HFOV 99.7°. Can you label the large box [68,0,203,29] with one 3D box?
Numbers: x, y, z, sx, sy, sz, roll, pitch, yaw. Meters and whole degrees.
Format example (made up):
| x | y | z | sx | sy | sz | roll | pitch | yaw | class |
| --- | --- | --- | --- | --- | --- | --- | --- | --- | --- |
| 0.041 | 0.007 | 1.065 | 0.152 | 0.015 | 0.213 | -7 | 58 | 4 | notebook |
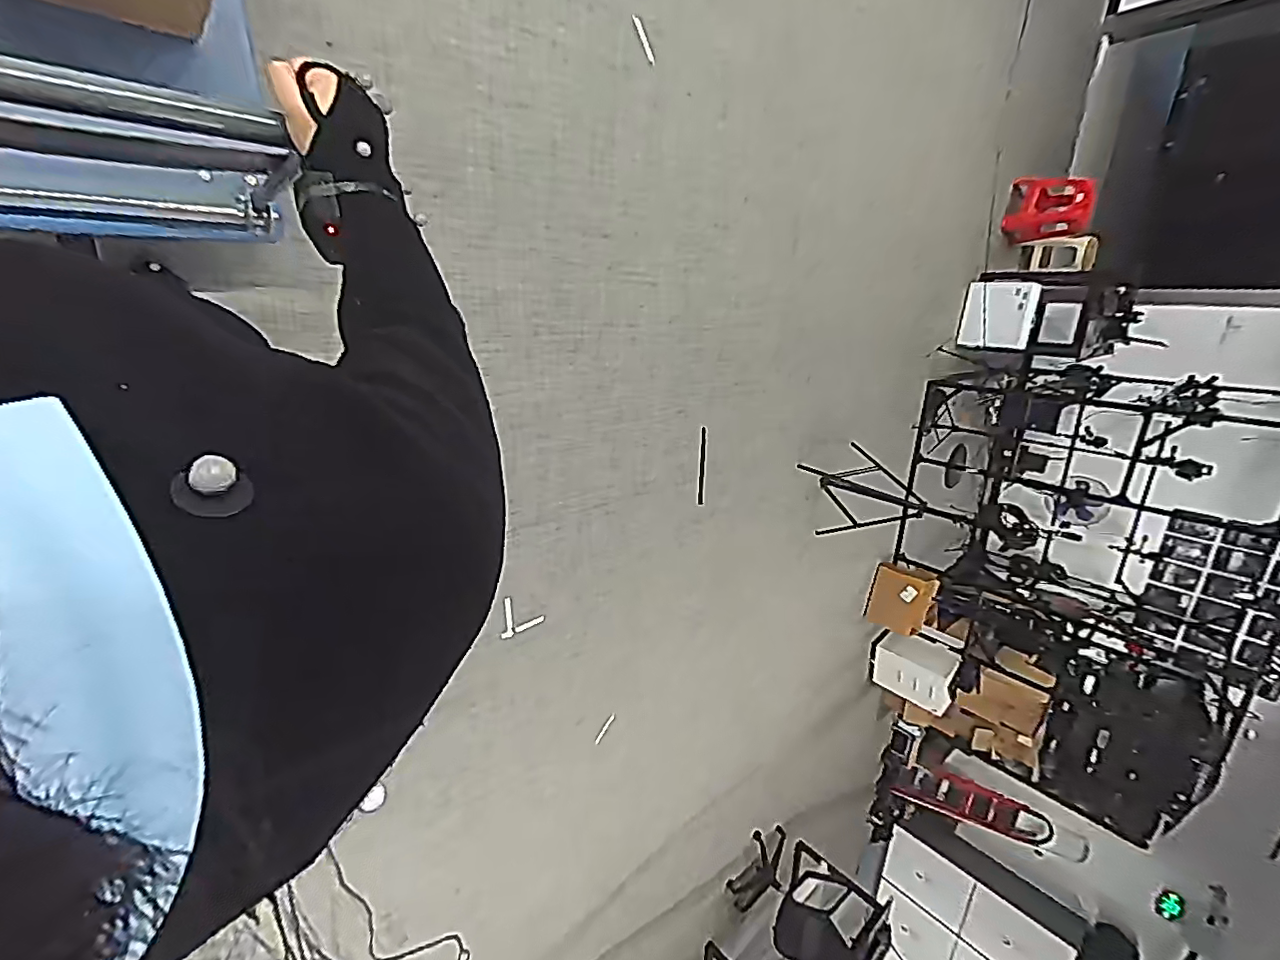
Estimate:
| x | y | z | sx | sy | sz | roll | pitch | yaw | class |
| --- | --- | --- | --- | --- | --- | --- | --- | --- | --- |
| -0.809 | -0.826 | 0.646 | 0.408 | 0.320 | 0.320 | -15 | 114 | -40 | large box |
